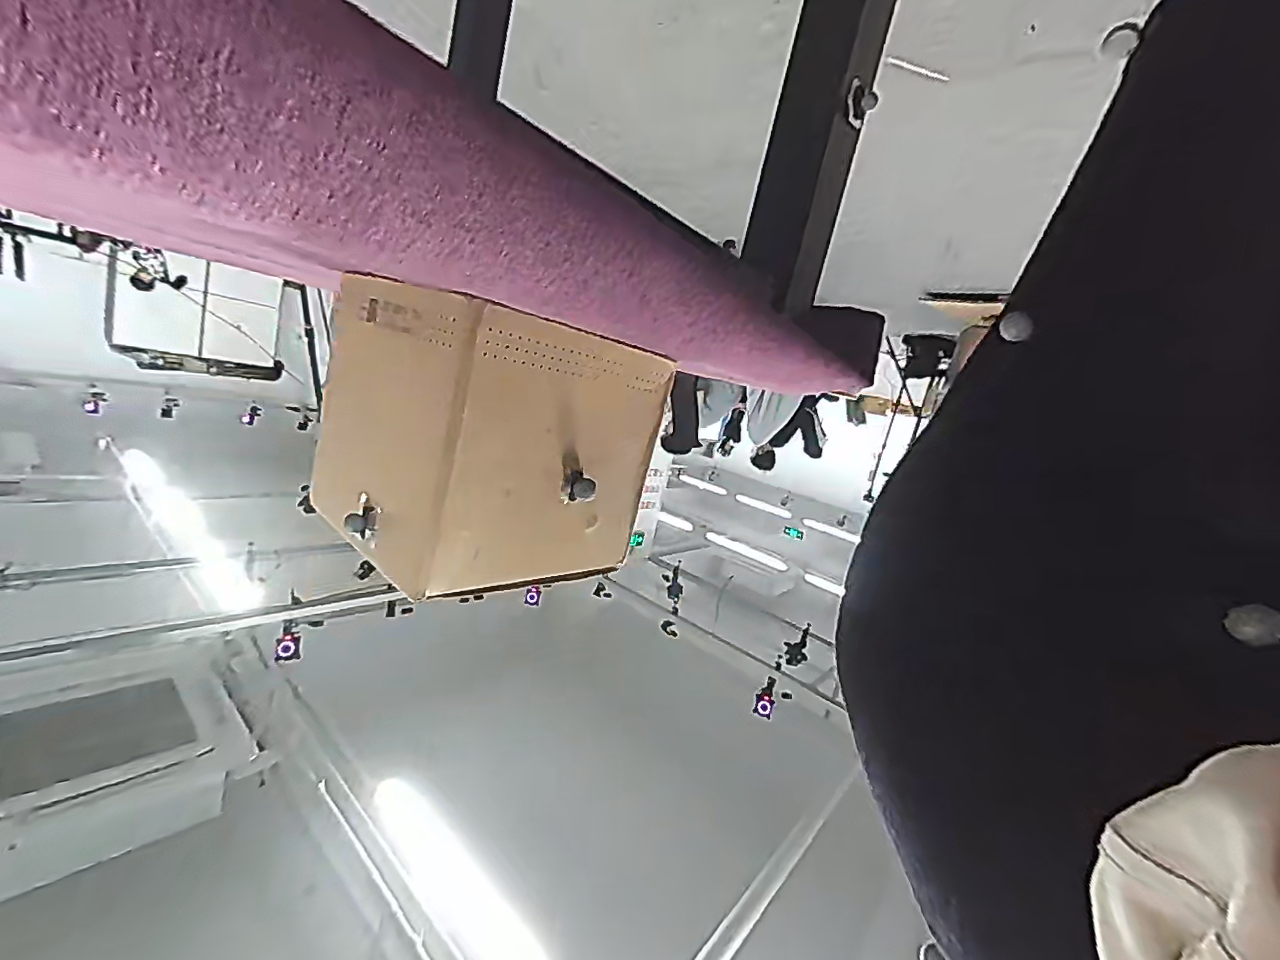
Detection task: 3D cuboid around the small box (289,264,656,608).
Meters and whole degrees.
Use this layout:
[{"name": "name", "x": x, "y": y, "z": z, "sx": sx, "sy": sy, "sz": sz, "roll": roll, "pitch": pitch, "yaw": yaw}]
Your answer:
[{"name": "small box", "x": -0.113, "y": -0.036, "z": 0.380, "sx": 0.168, "sy": 0.176, "sz": 0.179, "roll": 23, "pitch": -166, "yaw": 38}]
